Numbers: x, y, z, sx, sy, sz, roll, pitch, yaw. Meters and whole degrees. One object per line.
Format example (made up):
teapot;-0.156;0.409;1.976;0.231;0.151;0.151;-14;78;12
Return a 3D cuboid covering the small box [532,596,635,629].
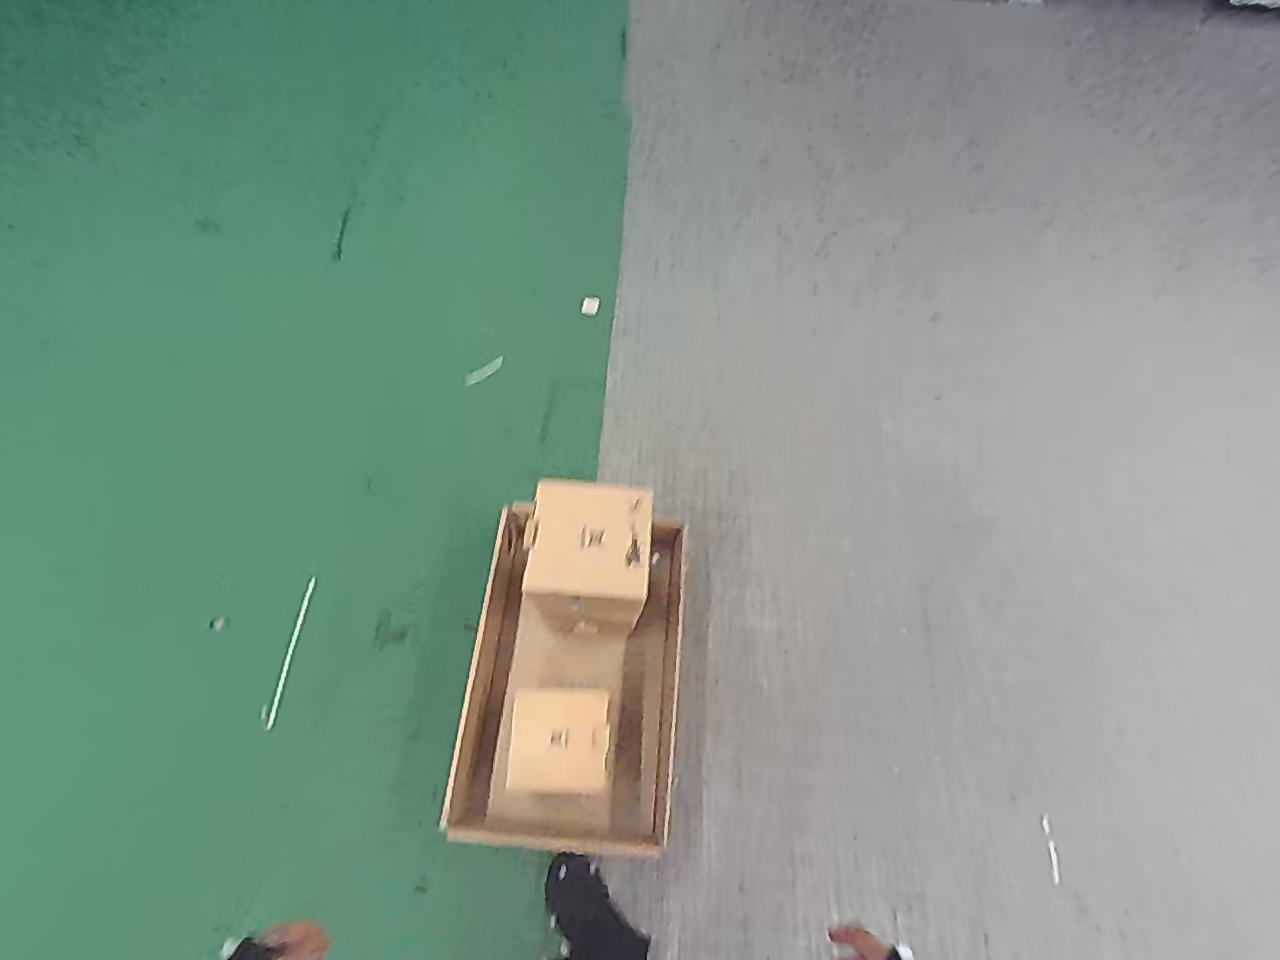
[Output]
small box;-0.091;0.175;1.003;0.179;0.176;0.168;8;67;-2

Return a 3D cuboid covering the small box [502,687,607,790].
small box;-0.154;0.493;1.034;0.179;0.176;0.168;2;64;-4

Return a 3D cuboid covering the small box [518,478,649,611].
small box;-0.081;0.108;0.853;0.179;0.176;0.168;4;67;-1
